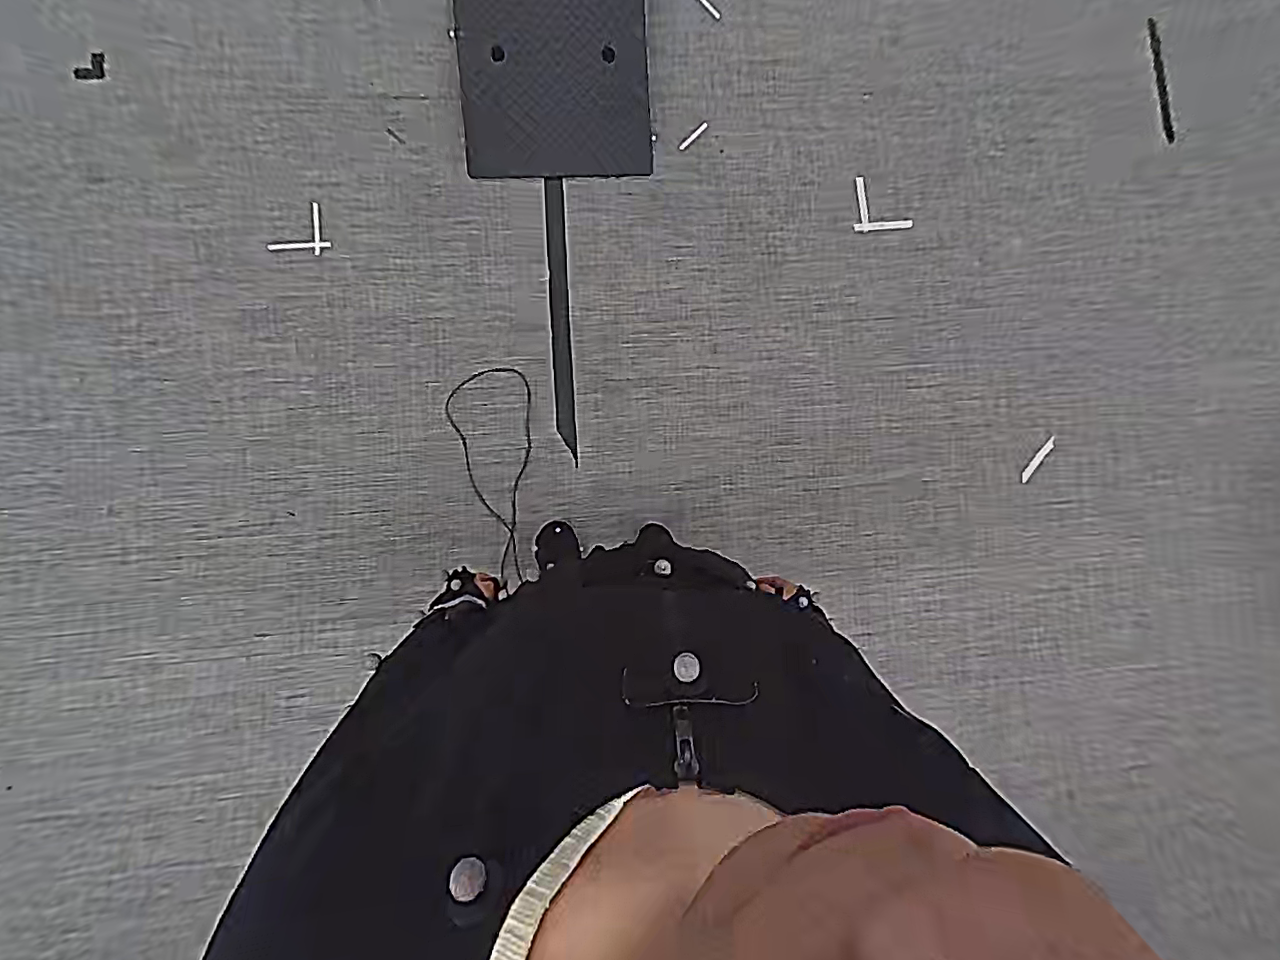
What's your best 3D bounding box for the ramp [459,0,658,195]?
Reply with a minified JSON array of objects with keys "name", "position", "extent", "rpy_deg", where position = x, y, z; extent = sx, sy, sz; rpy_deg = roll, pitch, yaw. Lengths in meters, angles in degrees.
[{"name":"ramp","position":[-0.224,-1.274,1.409],"extent":[0.509,0.206,0.991],"rpy_deg":[-6,87,-6]}]
